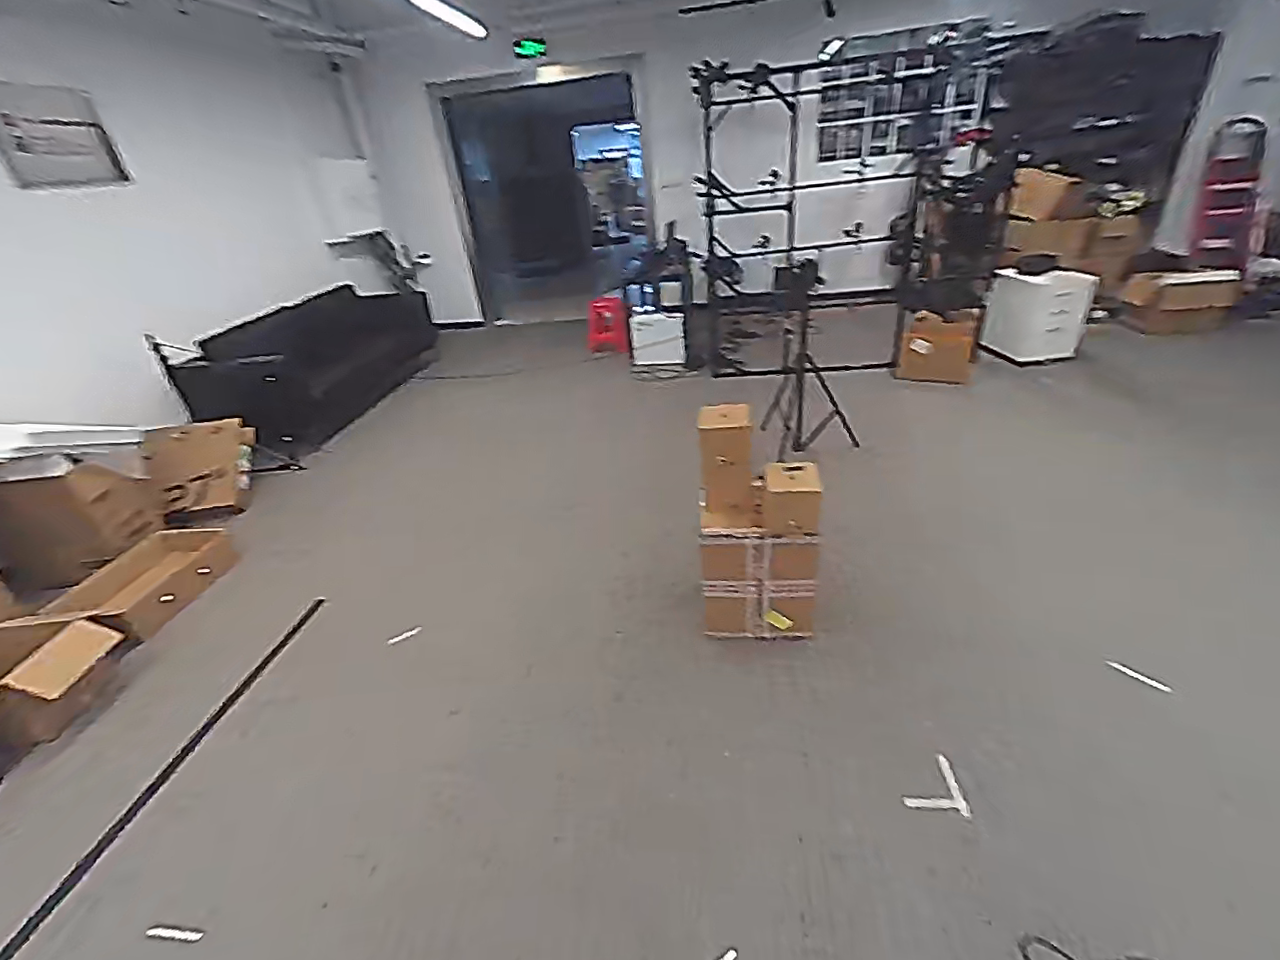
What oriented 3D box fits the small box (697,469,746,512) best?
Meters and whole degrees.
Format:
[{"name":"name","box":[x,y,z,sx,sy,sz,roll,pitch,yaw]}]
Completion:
[{"name":"small box","box":[0.295,-0.001,1.942,0.168,0.176,0.179,-3,32,10]}]

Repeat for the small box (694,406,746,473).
[{"name":"small box","box":[0.277,-0.138,1.857,0.168,0.176,0.179,-3,32,10]}]

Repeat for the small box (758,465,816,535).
[{"name":"small box","box":[0.483,0.063,1.800,0.168,0.176,0.179,-1,33,8]}]
